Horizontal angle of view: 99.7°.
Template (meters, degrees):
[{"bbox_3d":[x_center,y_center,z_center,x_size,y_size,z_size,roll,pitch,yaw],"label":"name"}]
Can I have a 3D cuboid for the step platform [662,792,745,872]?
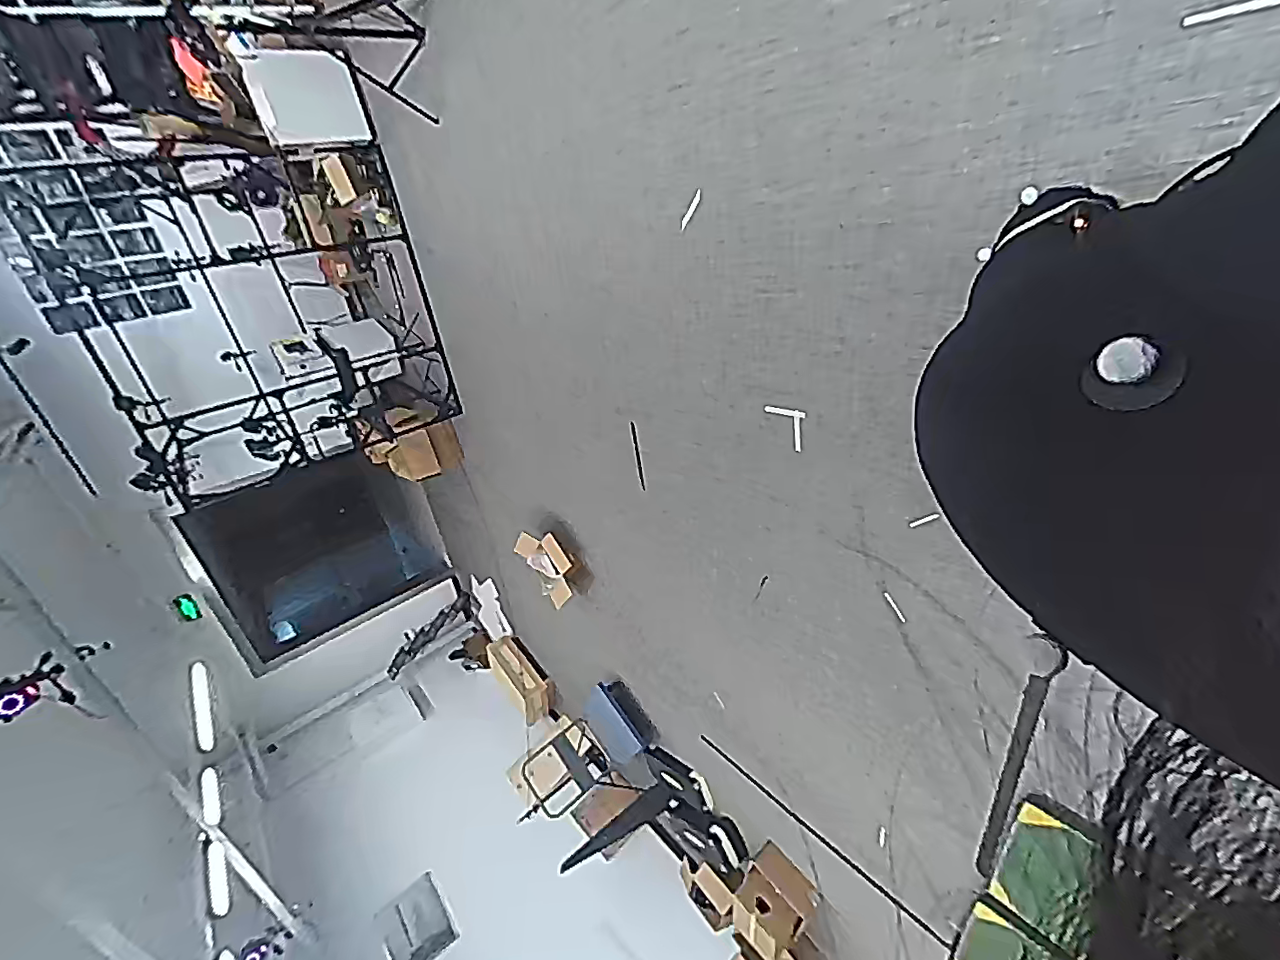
[{"bbox_3d":[0.440,2.551,3.933,0.684,0.204,0.286,-20,96,57],"label":"step platform"}]
